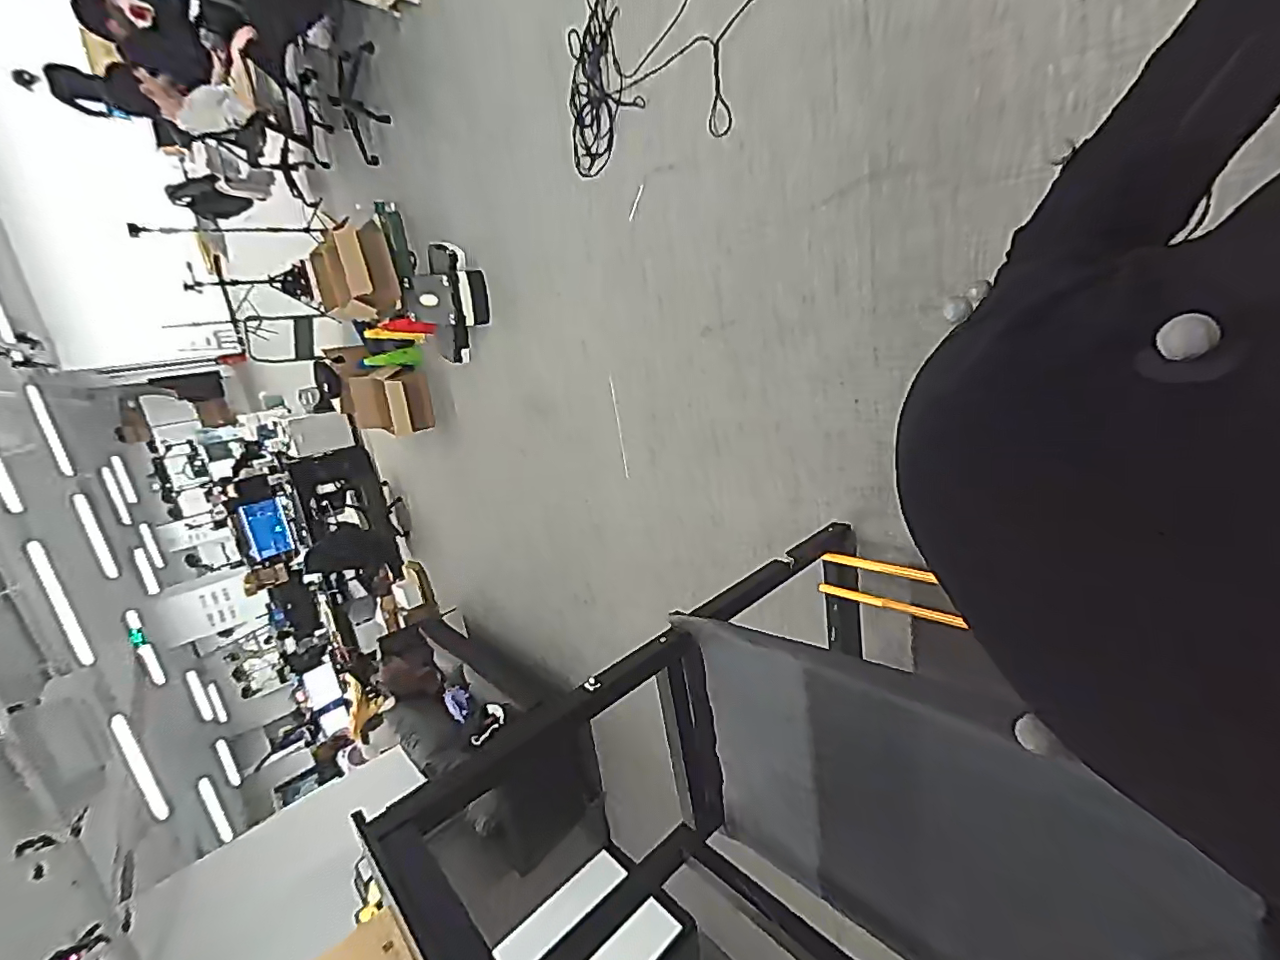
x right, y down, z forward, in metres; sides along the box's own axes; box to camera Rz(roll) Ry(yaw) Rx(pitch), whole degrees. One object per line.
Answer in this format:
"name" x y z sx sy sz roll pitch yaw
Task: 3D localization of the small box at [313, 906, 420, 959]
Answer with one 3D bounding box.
"small box" -0.367 0.742 0.722 0.168 0.176 0.179 14 116 46
